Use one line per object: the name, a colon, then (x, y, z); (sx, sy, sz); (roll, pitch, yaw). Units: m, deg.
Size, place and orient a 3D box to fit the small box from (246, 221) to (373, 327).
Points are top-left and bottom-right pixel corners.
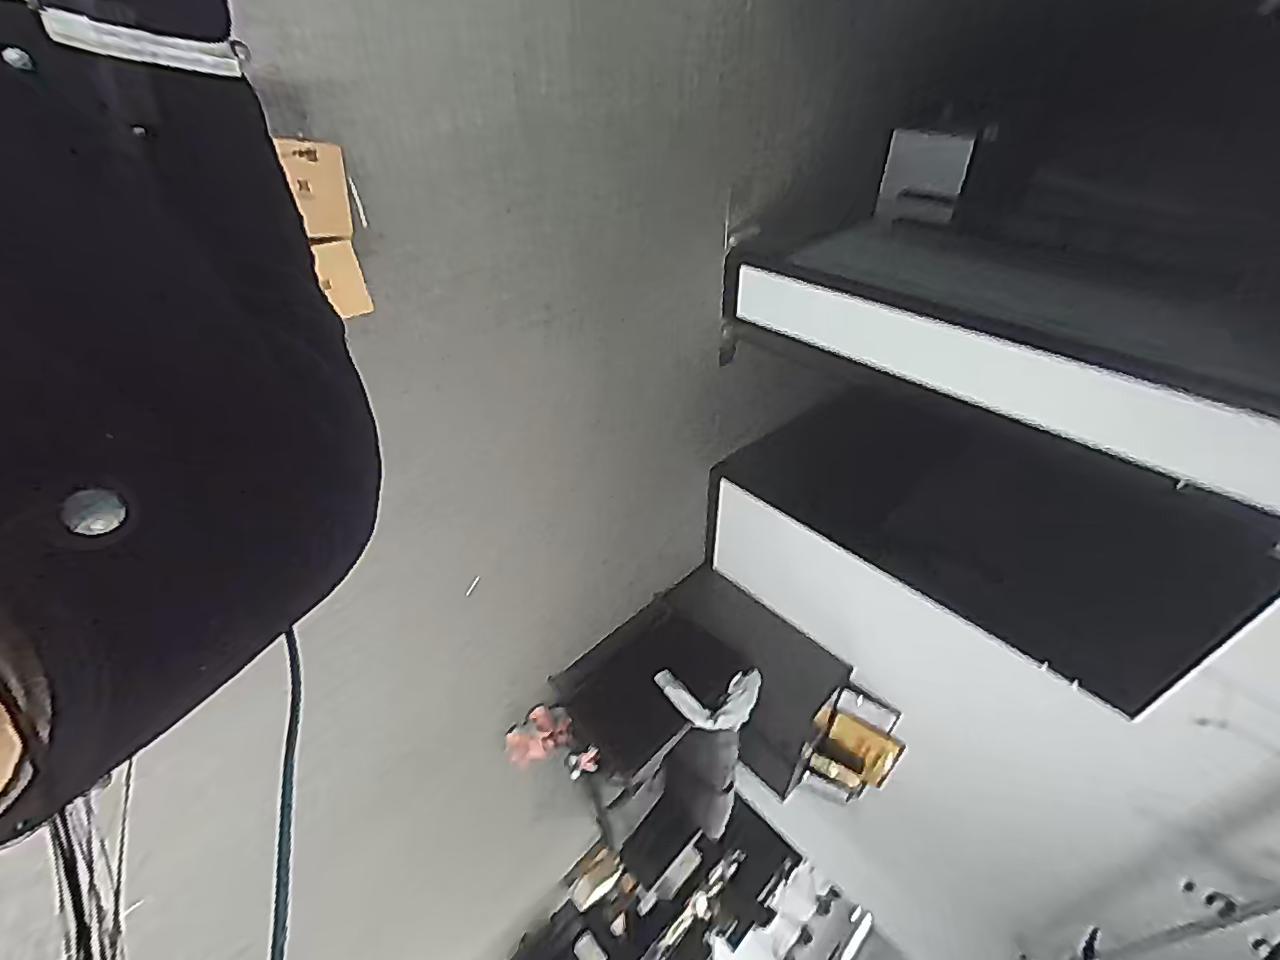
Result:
small box: (-0.750, -0.475, 1.231); (0.179, 0.176, 0.168); (-31, 139, -30)
